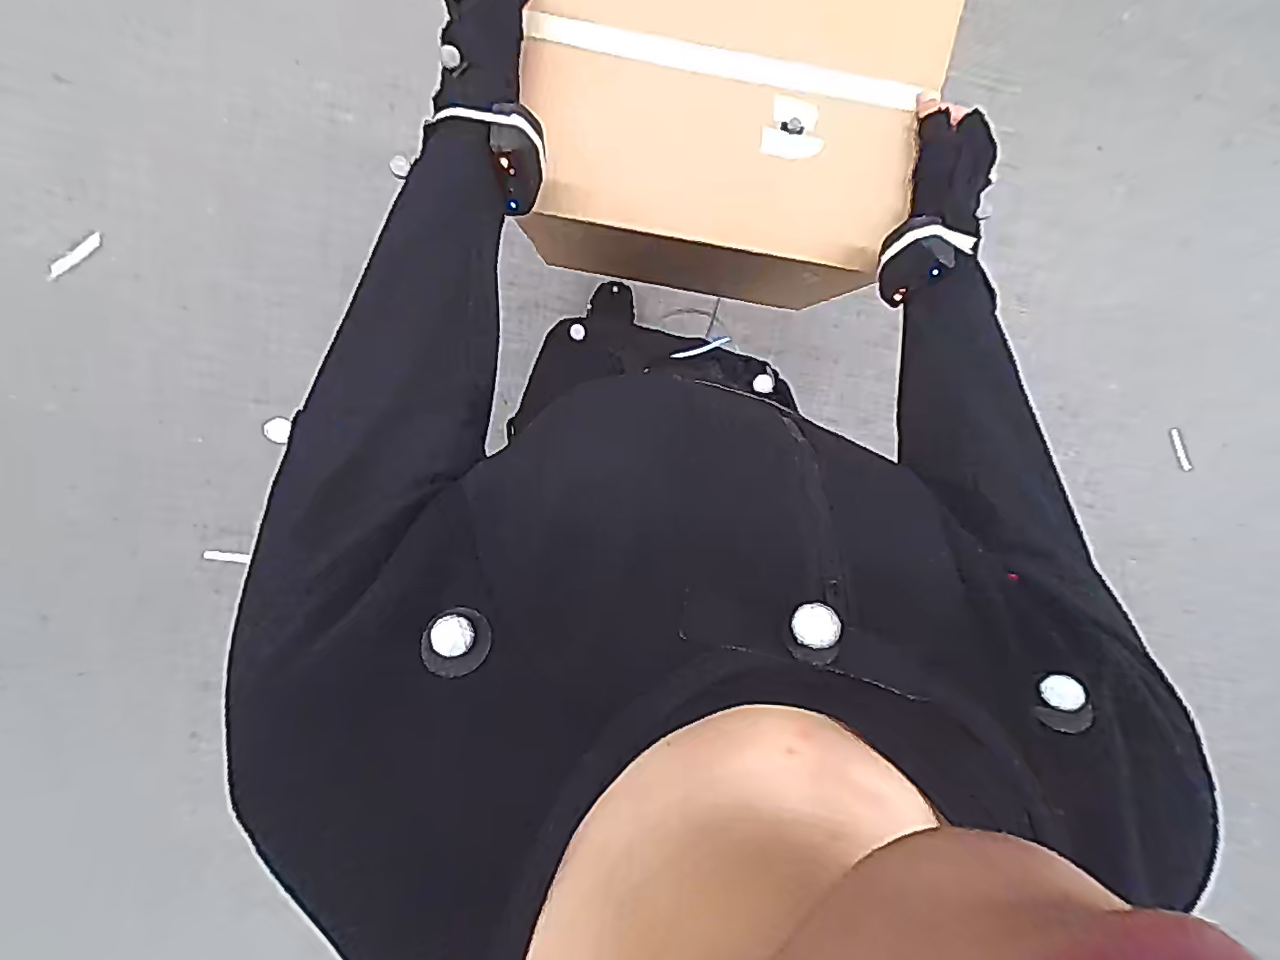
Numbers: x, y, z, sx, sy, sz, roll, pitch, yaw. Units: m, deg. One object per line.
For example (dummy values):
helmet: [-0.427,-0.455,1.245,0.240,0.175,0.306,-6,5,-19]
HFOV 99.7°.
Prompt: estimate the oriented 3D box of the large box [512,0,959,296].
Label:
large box: [0.085,-0.433,0.659,0.408,0.320,0.320,10,102,-4]
